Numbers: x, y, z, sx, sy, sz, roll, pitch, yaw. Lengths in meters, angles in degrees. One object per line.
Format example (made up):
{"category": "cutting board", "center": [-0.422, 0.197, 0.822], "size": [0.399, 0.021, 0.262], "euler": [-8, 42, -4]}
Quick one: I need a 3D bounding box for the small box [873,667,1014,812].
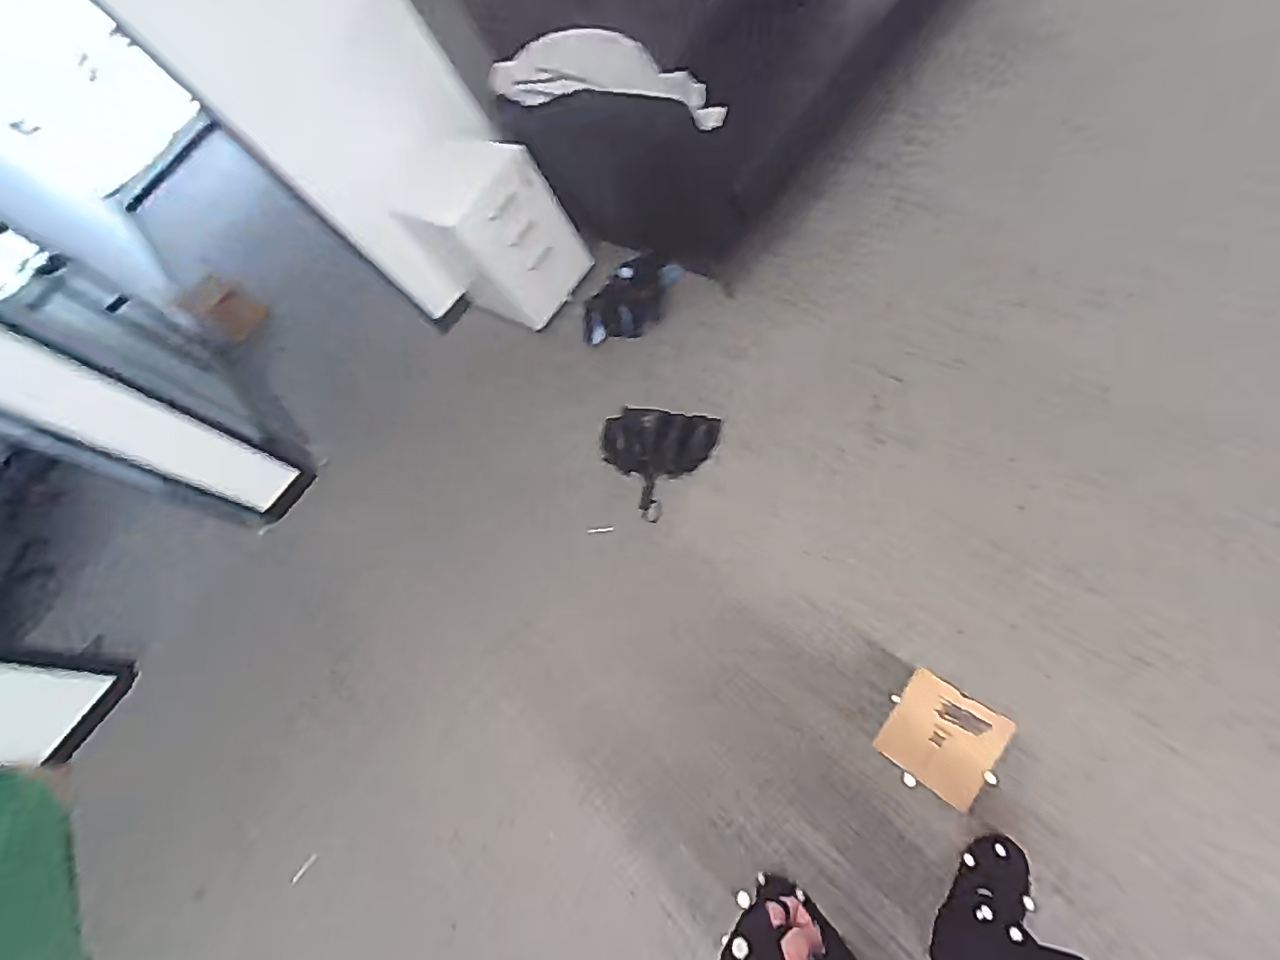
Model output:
{"category": "small box", "center": [0.561, 0.484, 1.015], "size": [0.168, 0.176, 0.179], "euler": [31, 81, 37]}
